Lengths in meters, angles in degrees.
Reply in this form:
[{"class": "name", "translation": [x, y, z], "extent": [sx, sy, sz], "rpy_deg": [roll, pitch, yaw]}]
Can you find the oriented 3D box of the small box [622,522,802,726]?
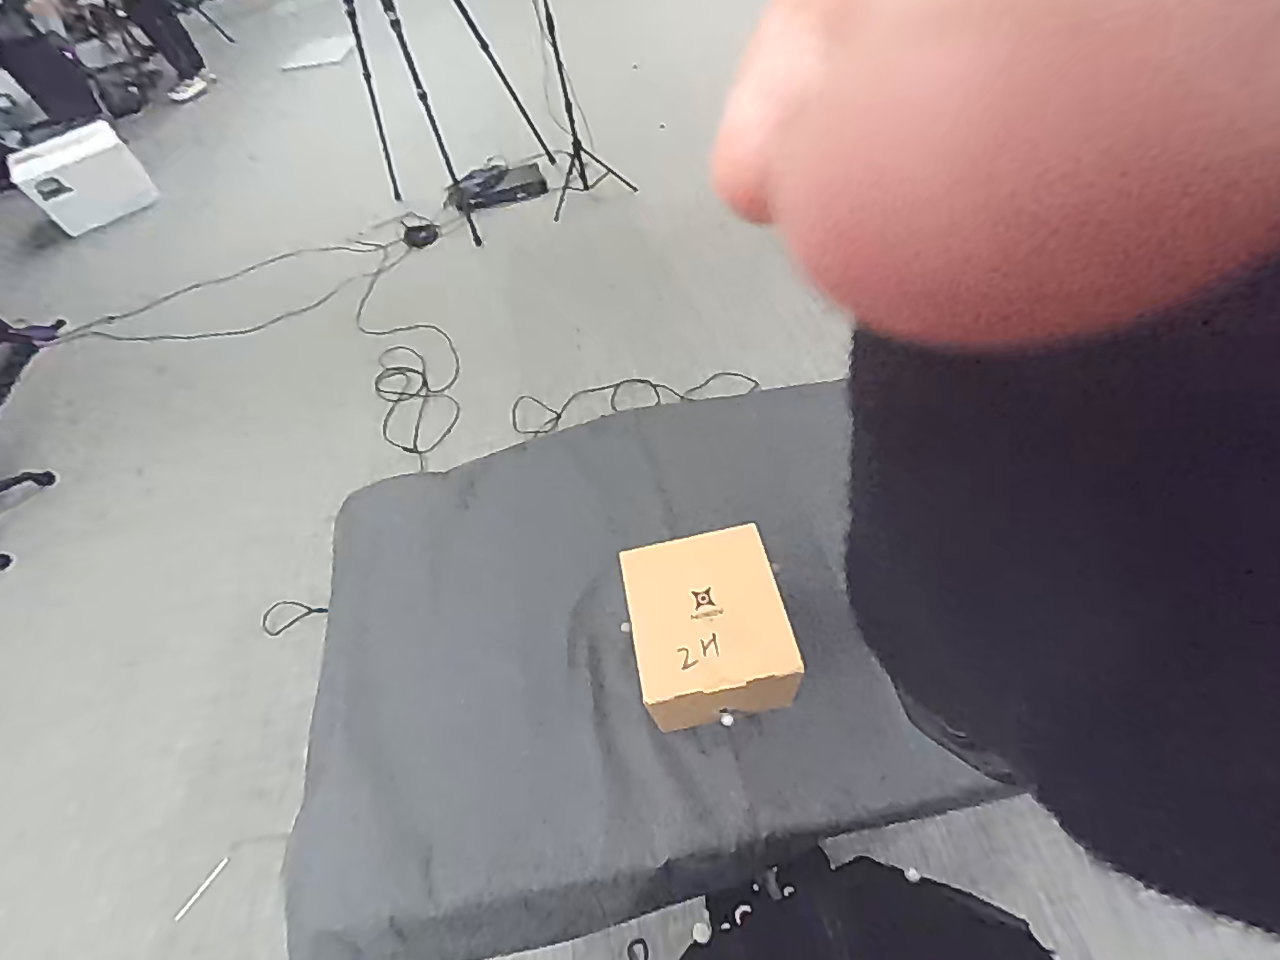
[{"class": "small box", "translation": [0.080, 0.178, 0.652], "extent": [0.168, 0.176, 0.179], "rpy_deg": [-13, 56, 2]}]
